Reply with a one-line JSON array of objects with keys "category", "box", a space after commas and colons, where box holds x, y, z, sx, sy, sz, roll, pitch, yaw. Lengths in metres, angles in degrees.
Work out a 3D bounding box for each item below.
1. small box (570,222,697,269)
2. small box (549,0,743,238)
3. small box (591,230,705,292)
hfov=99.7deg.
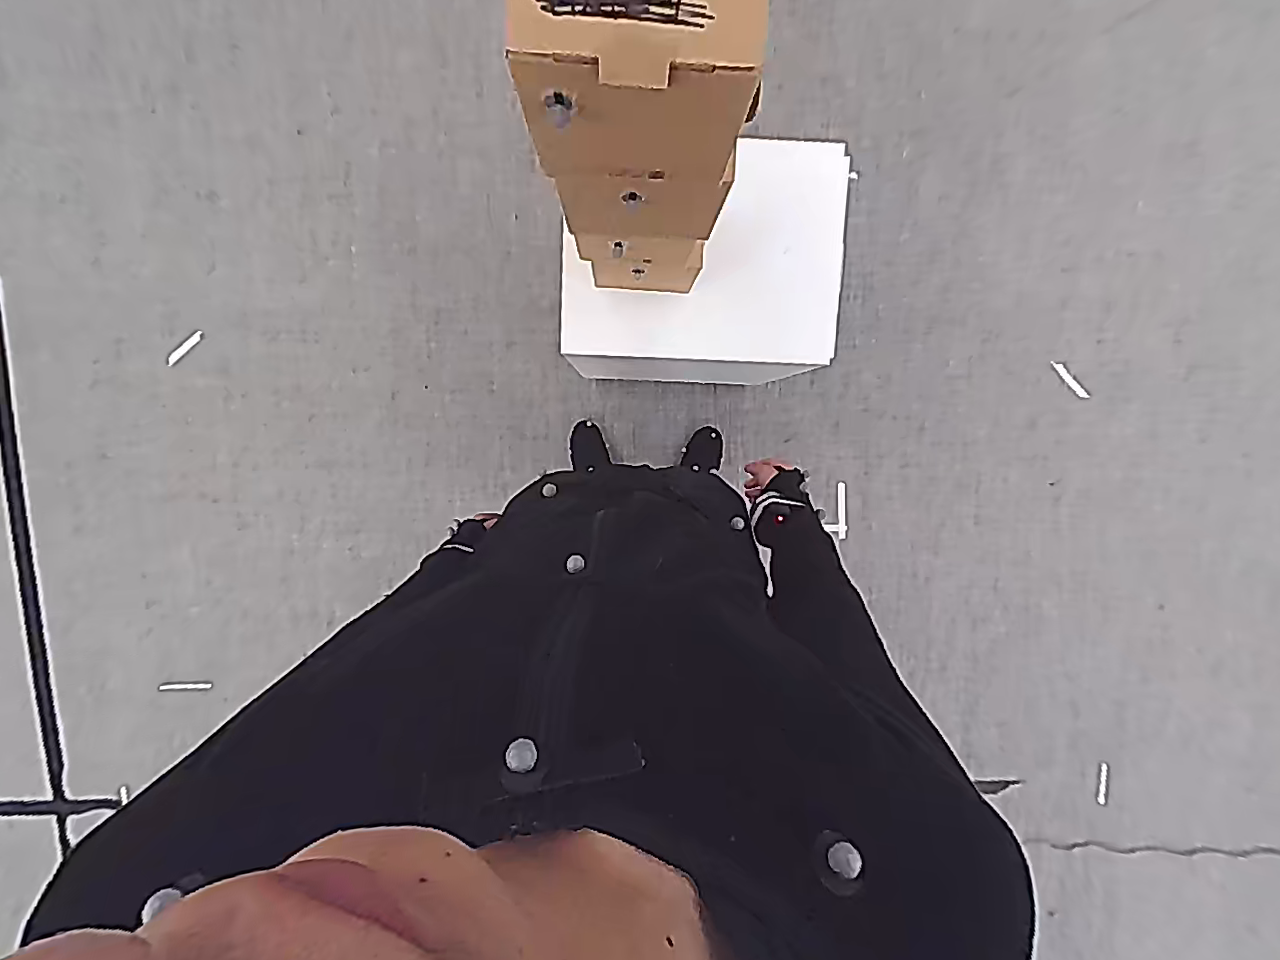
[{"category": "small box", "box": [0.000, -0.404, 0.742, 0.168, 0.176, 0.179, 5, 95, -2]}, {"category": "small box", "box": [0.003, -0.374, 0.580, 0.179, 0.176, 0.168, 2, 96, -2]}, {"category": "small box", "box": [0.013, -0.421, 0.904, 0.179, 0.176, 0.168, 3, 96, -3]}]
